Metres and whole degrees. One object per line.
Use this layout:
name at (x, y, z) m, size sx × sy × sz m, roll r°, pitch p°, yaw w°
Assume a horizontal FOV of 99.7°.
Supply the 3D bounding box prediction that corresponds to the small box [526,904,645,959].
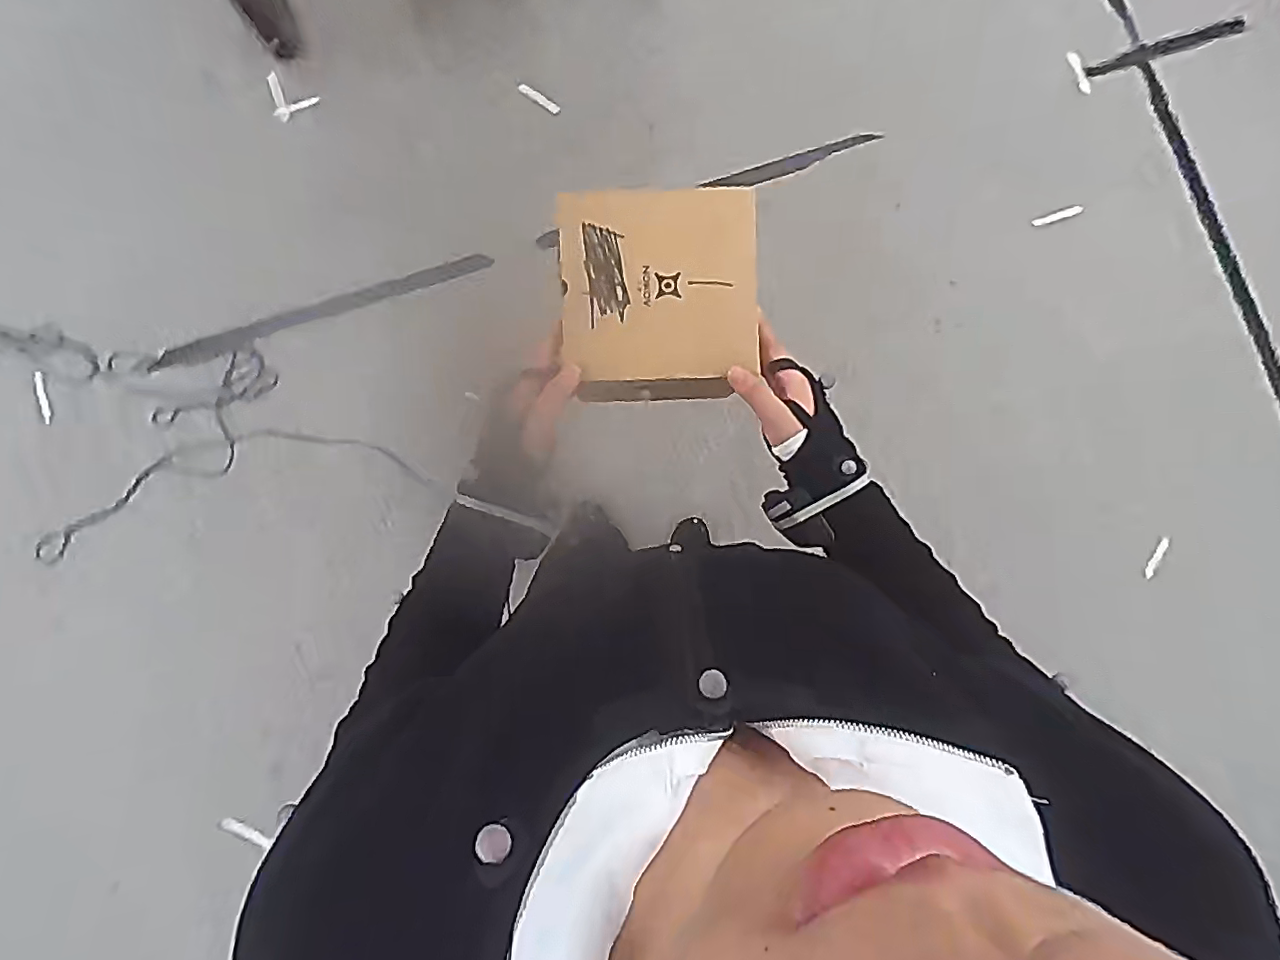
small box at (-0.068, 0.759, 0.760) m, size 0.168 × 0.176 × 0.179 m, roll -17°, pitch 84°, yaw -3°

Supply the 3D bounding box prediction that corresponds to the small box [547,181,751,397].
small box at (0.008, -0.178, 0.552) m, size 0.179 × 0.176 × 0.168 m, roll -3°, pitch 92°, yaw -1°
